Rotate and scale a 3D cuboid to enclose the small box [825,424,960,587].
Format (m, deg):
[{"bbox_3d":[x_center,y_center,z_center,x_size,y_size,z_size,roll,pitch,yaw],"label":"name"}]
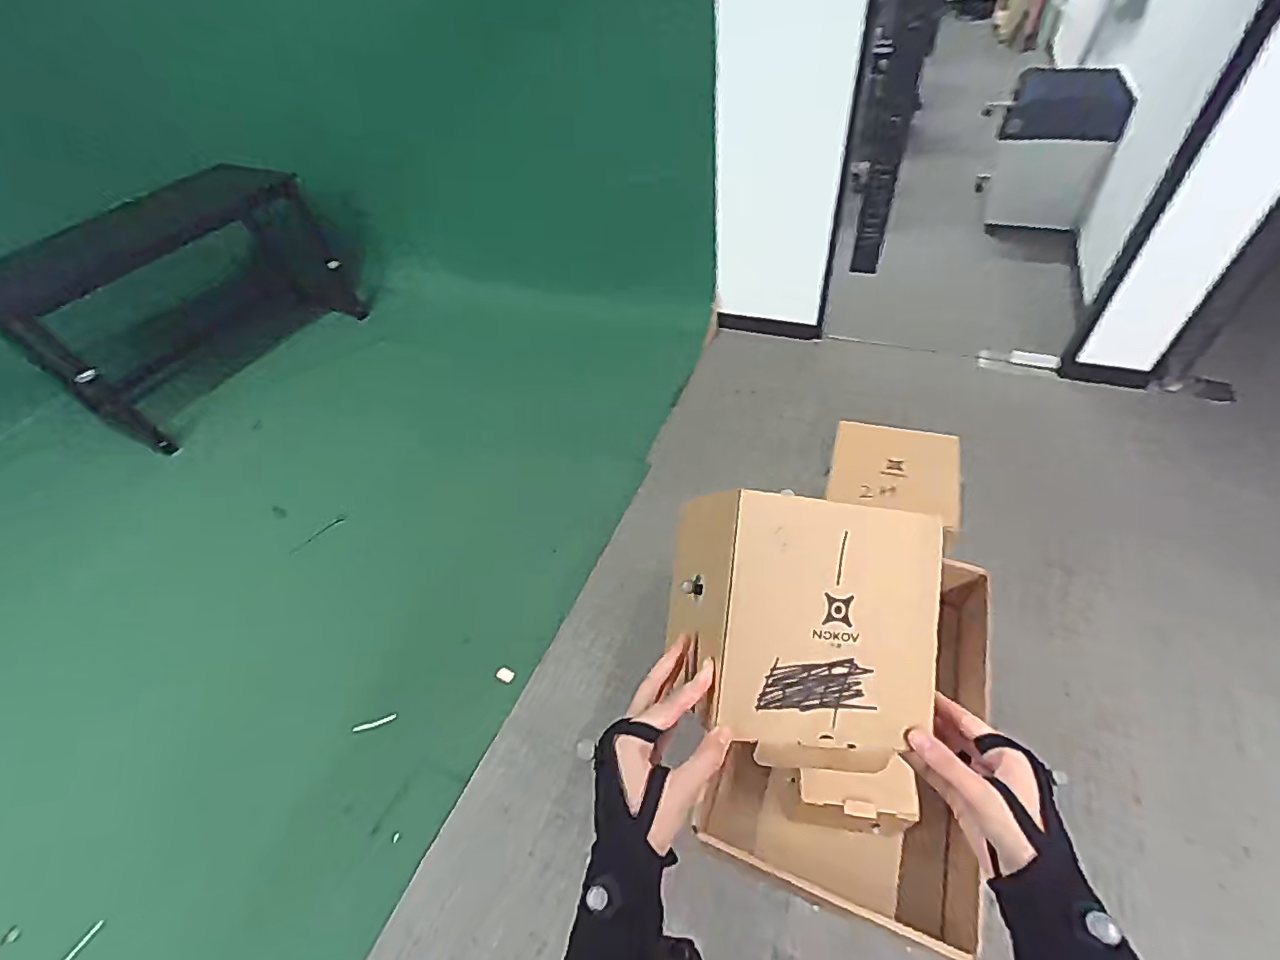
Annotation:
[{"bbox_3d":[0.369,0.045,0.821,0.168,0.176,0.179,11,52,19],"label":"small box"}]

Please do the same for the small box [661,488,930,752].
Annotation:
[{"bbox_3d":[0.119,0.110,0.472,0.168,0.176,0.179,8,82,-9],"label":"small box"}]

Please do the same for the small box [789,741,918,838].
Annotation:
[{"bbox_3d":[0.340,0.469,0.893,0.168,0.176,0.179,4,49,11],"label":"small box"}]
